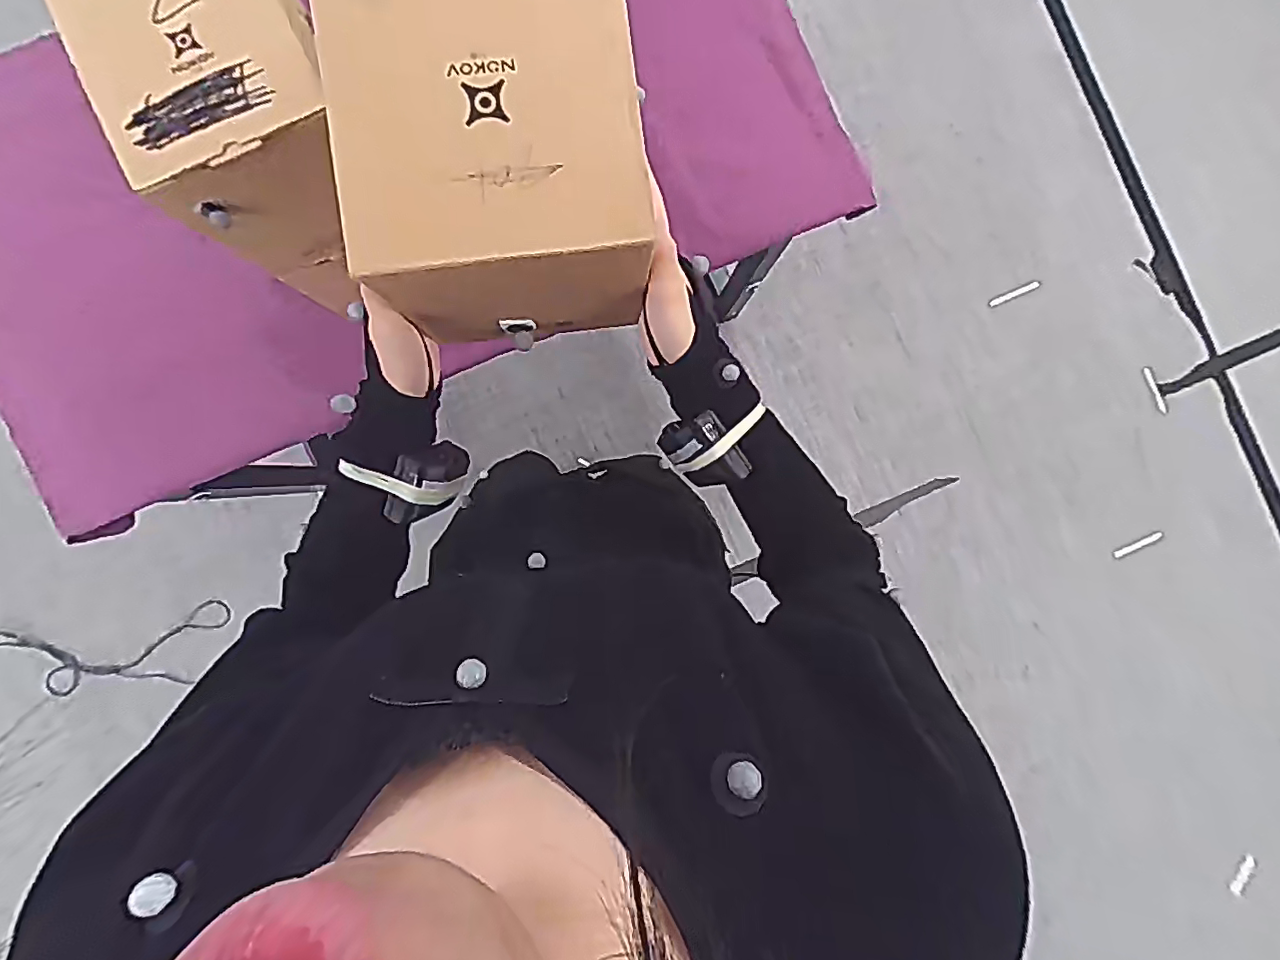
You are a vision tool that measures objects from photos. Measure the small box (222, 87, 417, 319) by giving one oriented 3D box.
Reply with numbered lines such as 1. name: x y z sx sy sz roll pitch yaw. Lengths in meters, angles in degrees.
1. small box: -0.349 -0.327 0.666 0.168 0.176 0.179 -22 90 -1

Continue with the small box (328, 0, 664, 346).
1. small box: -0.083 -0.205 0.372 0.168 0.176 0.179 -8 92 -3
